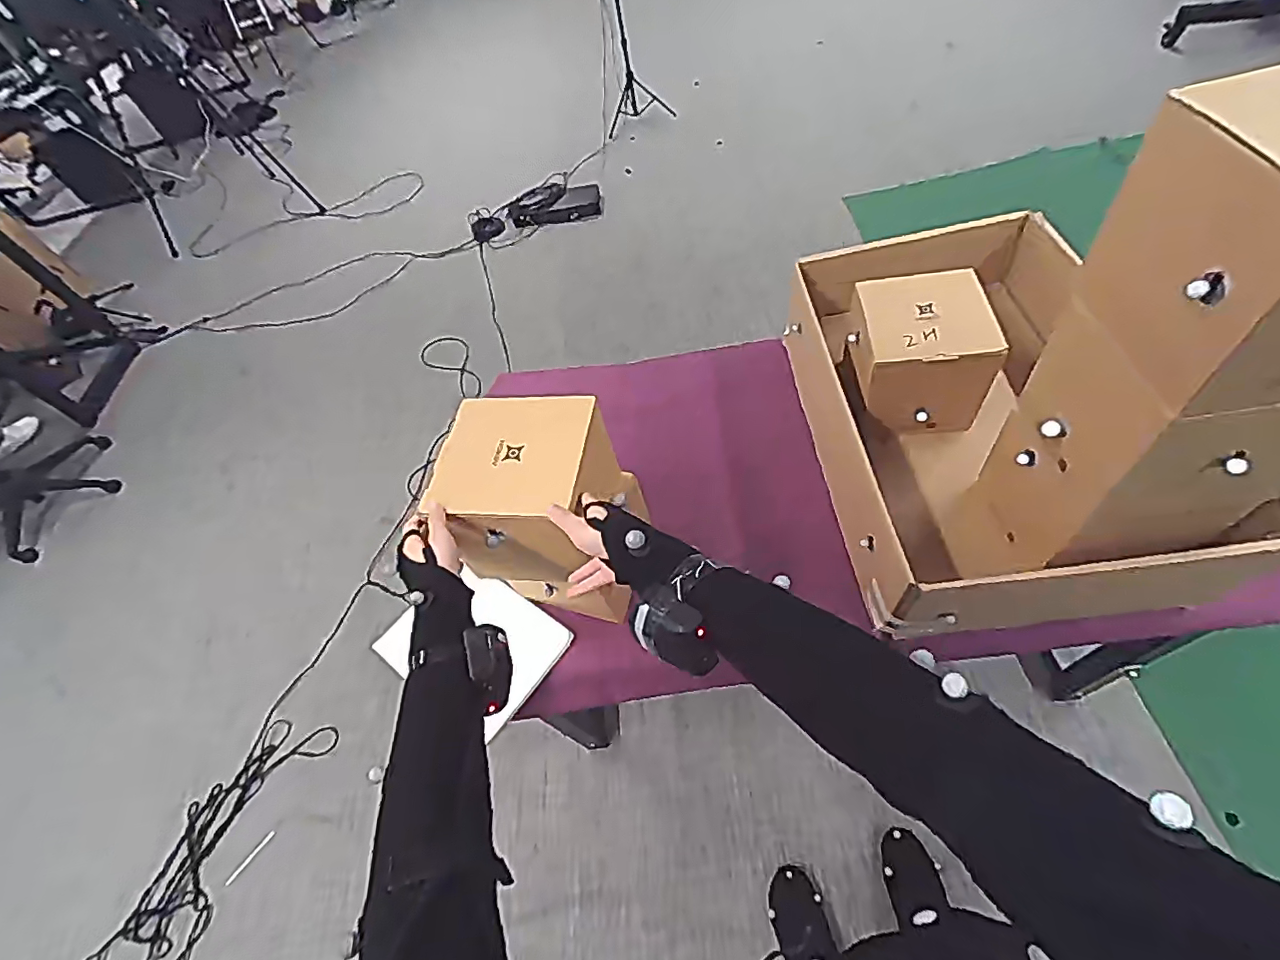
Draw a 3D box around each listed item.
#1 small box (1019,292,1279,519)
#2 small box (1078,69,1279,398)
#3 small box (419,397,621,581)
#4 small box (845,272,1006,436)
[{"bbox_3d":[0.517,-0.079,0.523,0.179,0.176,0.168,-9,54,10],"label":"small box"},{"bbox_3d":[0.480,-0.176,0.397,0.168,0.176,0.179,-8,53,9],"label":"small box"},{"bbox_3d":[-0.129,0.015,0.668,0.179,0.176,0.168,0,55,13],"label":"small box"},{"bbox_3d":[0.416,-0.187,0.826,0.168,0.176,0.179,-3,56,12],"label":"small box"}]
